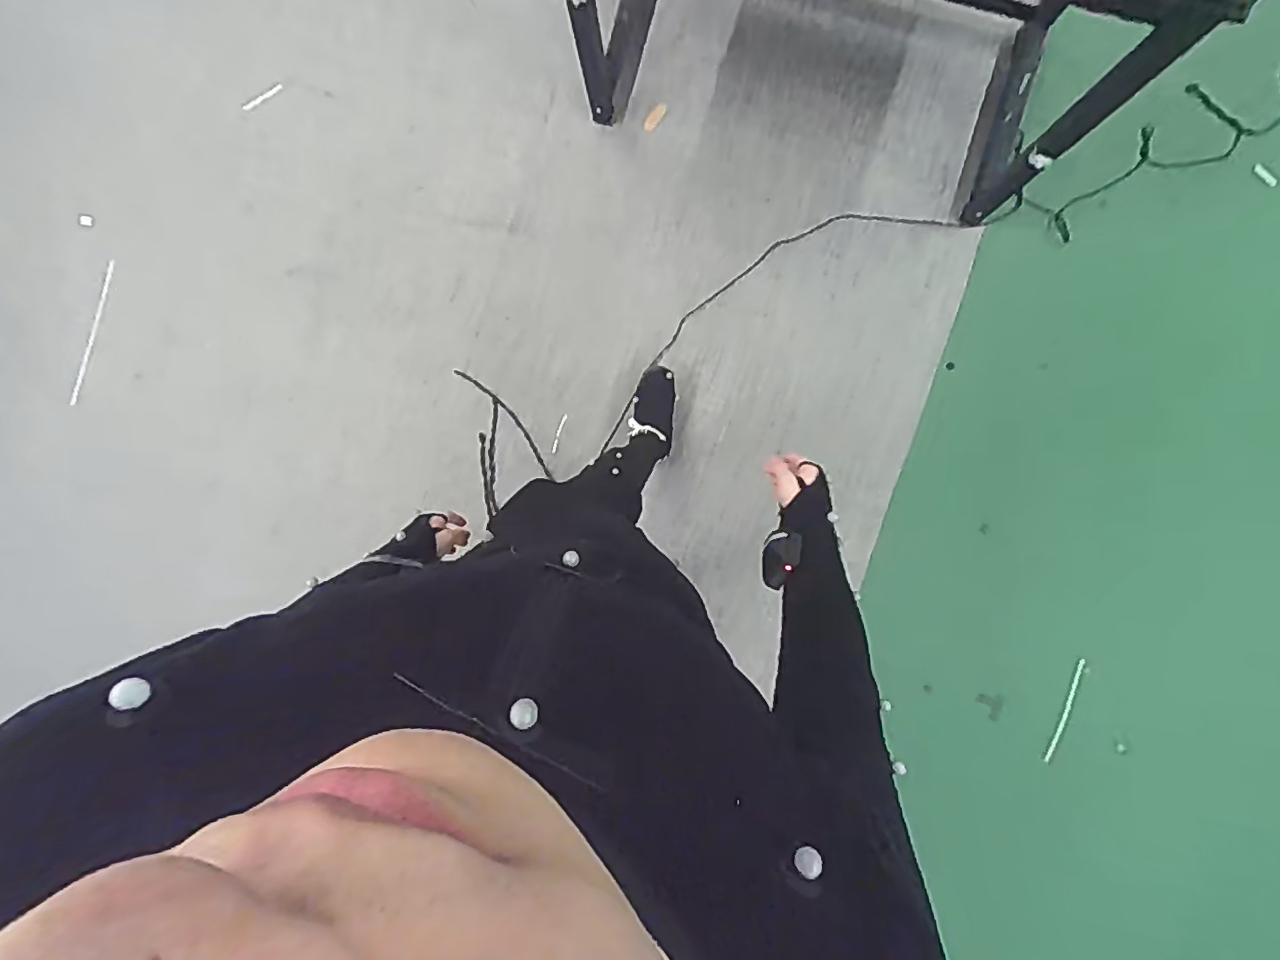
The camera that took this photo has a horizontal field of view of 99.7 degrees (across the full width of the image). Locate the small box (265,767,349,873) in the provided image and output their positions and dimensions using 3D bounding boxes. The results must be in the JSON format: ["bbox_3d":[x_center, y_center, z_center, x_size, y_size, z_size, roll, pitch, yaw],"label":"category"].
[{"bbox_3d":[-0.985,0.979,1.577,0.168,0.176,0.179,20,92,1],"label":"small box"}]
